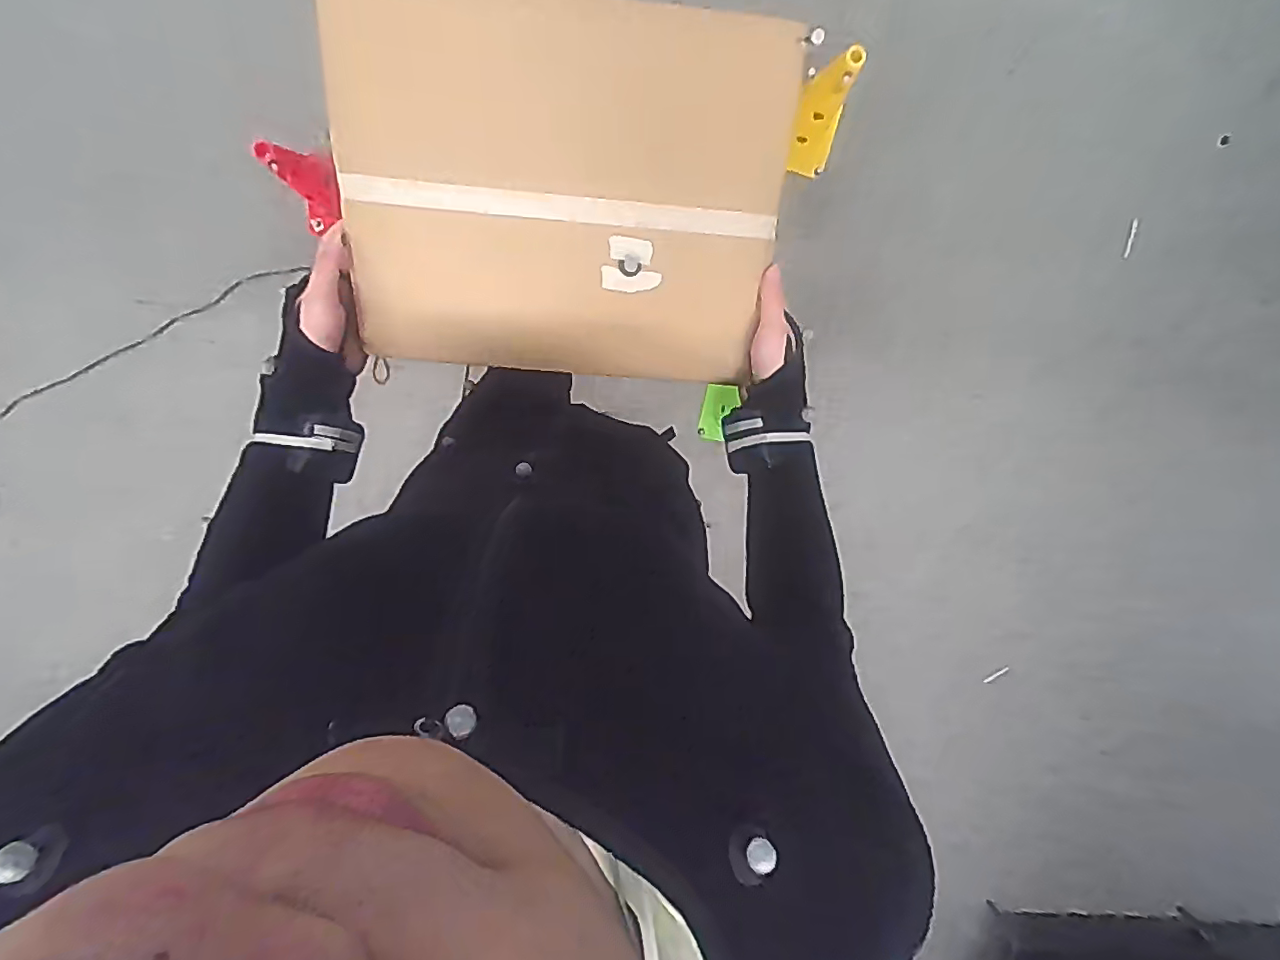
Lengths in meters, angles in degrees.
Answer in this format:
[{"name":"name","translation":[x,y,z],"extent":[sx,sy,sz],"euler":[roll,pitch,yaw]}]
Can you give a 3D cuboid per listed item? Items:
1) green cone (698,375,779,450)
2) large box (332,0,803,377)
[{"name":"green cone","translation":[0.295,-0.163,1.426],"extent":[0.200,0.368,0.202],"euler":[10,101,-6]},{"name":"large box","translation":[-0.074,-0.321,0.649],"extent":[0.408,0.320,0.320],"euler":[3,116,-4]}]
